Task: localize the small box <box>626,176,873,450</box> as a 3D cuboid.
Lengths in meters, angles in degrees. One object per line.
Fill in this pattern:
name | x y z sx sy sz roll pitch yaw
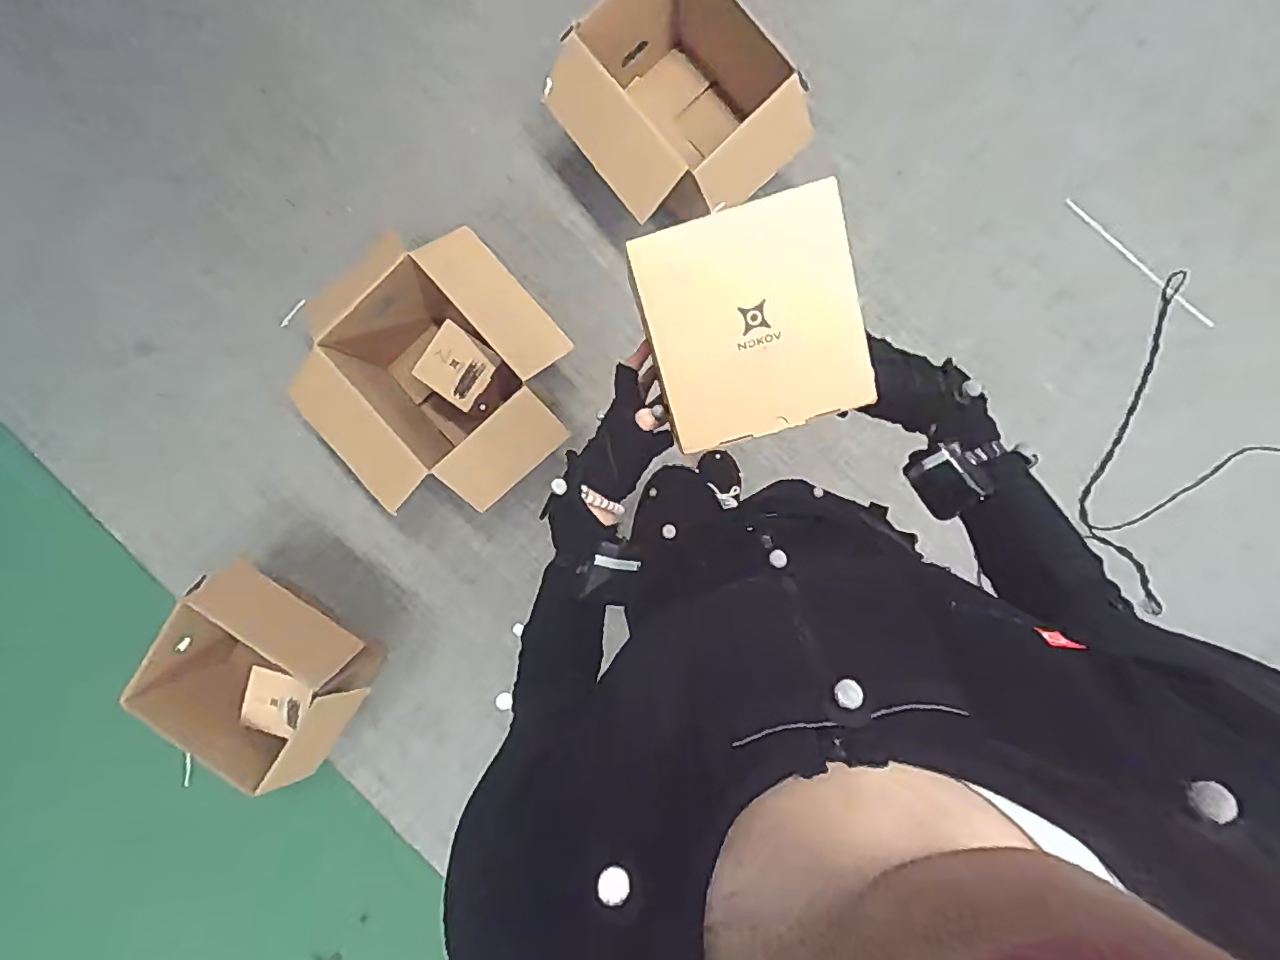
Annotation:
small box | 0.087 -0.143 0.503 0.168 0.176 0.179 -17 103 4
